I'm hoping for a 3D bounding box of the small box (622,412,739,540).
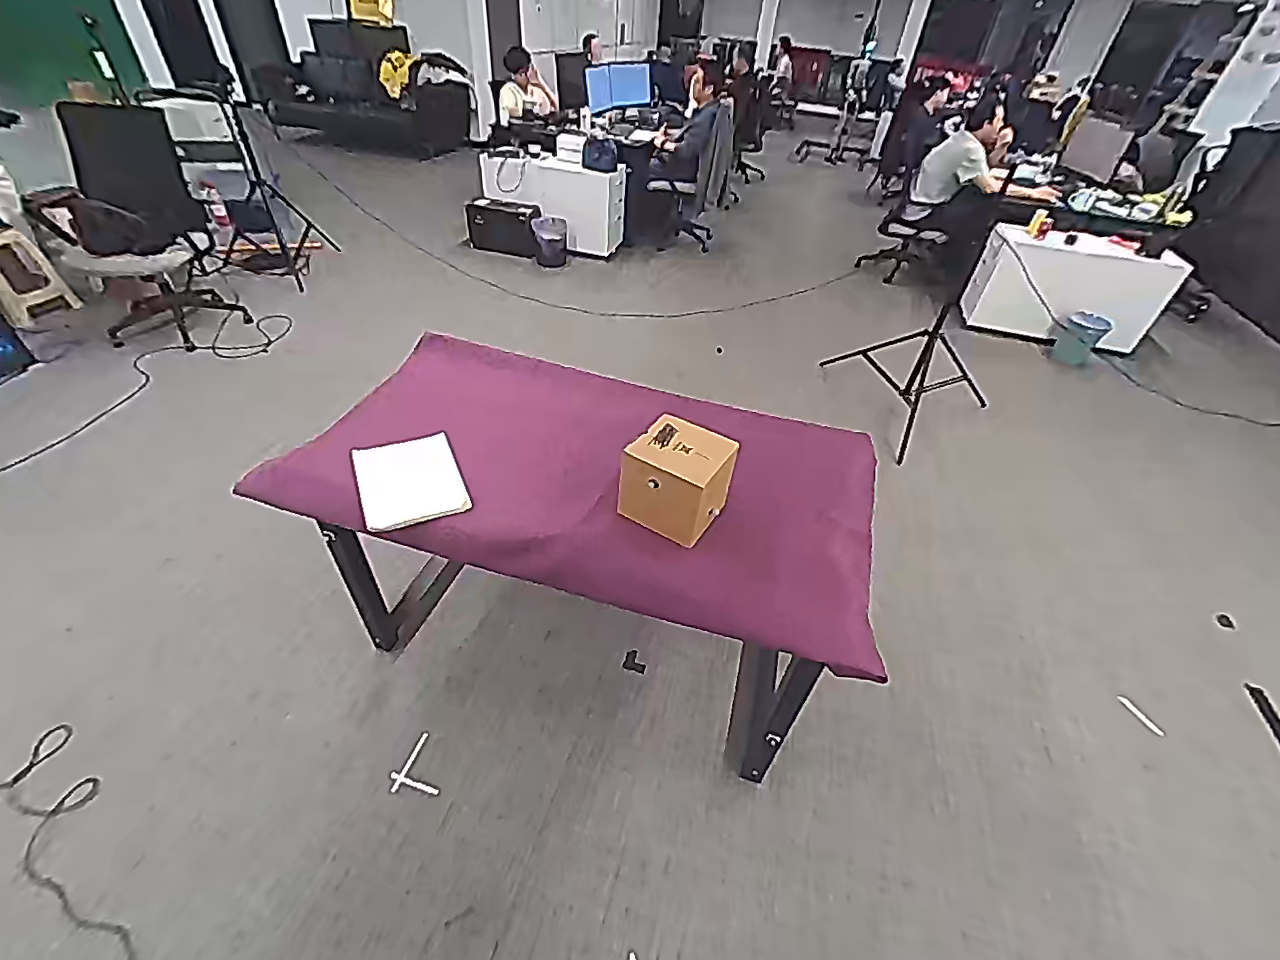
[{"bbox_3d":[0.075,-0.007,1.101,0.179,0.176,0.168,25,44,21],"label":"small box"}]
